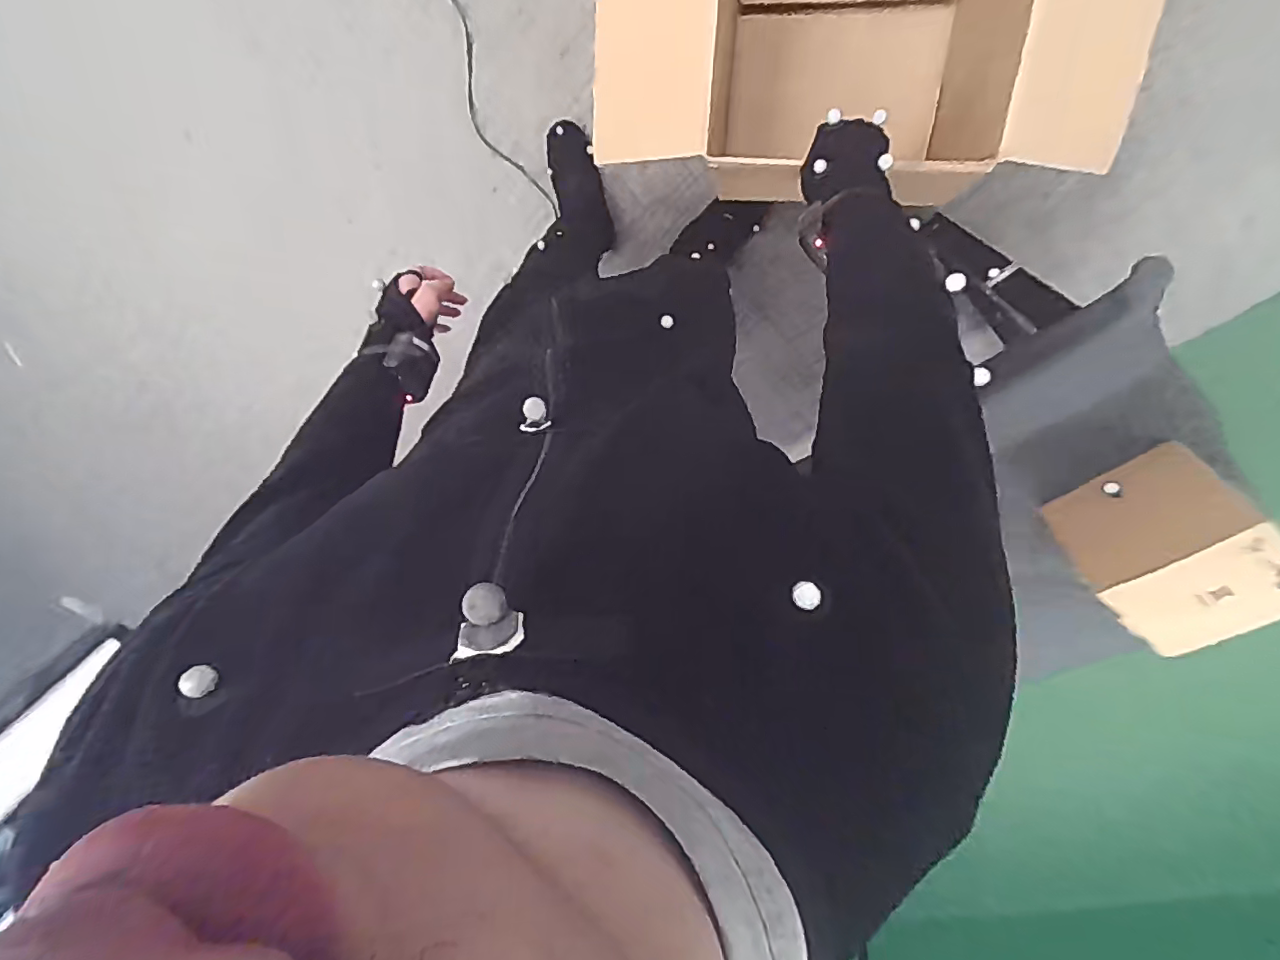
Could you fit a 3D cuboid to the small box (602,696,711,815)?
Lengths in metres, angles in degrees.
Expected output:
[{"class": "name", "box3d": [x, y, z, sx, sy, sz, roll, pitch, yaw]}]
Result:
[{"class": "small box", "box3d": [0.044, 0.610, 1.205, 0.179, 0.176, 0.168, -32, 114, 30]}]

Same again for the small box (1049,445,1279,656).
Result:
[{"class": "small box", "box3d": [0.679, 0.090, 0.702, 0.168, 0.176, 0.179, 36, 125, -17]}]
